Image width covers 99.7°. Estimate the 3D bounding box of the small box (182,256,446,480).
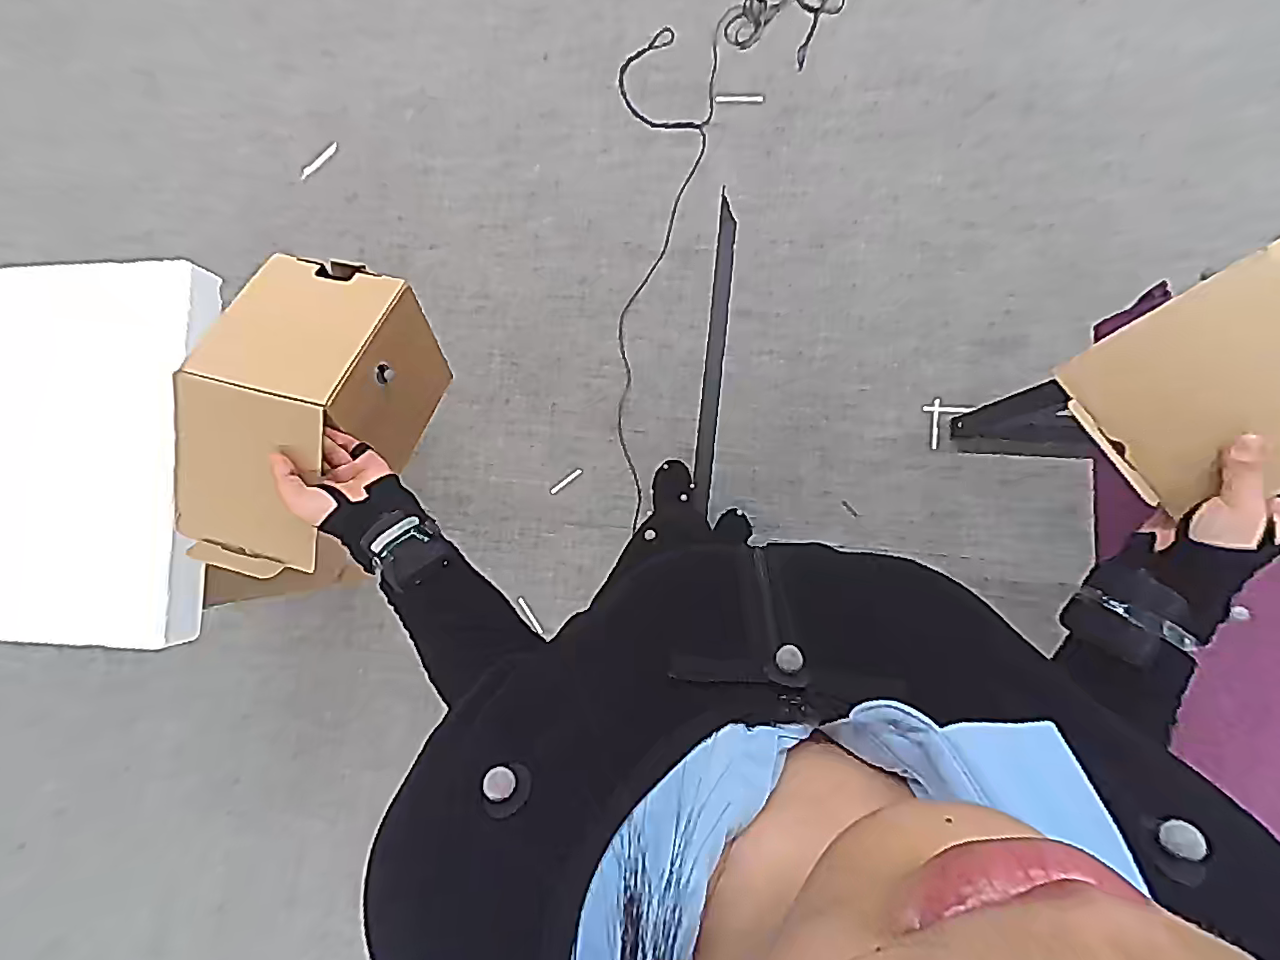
[{"bbox_3d":[-0.351,-0.122,0.629,0.168,0.176,0.179,14,62,7],"label":"small box"}]
